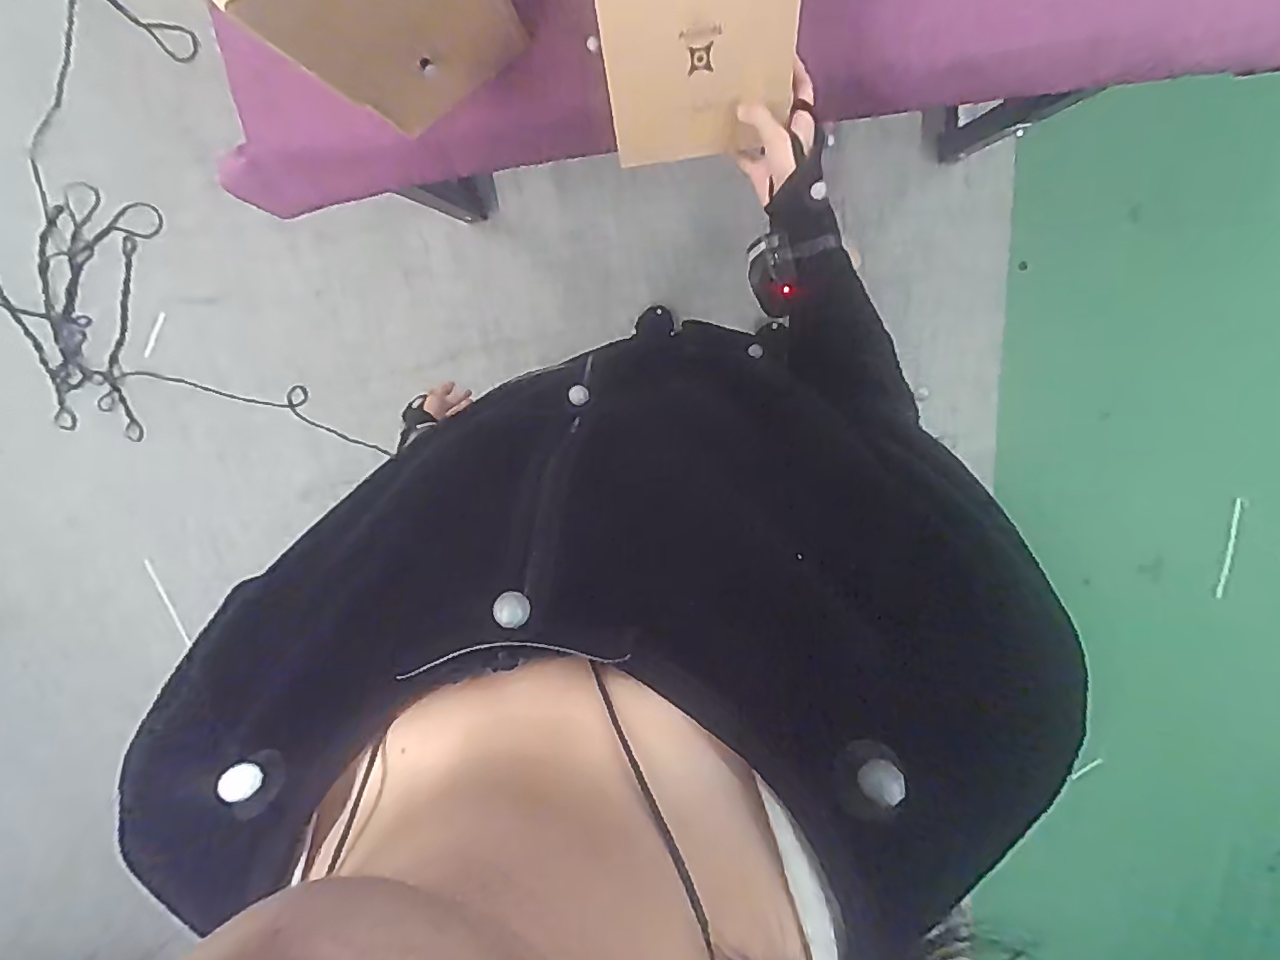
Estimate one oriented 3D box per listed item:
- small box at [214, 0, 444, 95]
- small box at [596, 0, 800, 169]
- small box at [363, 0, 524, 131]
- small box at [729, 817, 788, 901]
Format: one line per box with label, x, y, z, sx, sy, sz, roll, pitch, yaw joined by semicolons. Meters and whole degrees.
small box;-0.244;-0.423;0.374;0.179;0.176;0.168;-42;101;12
small box;0.045;-0.430;0.501;0.168;0.176;0.179;-5;150;4
small box;-0.240;-0.486;0.527;0.179;0.176;0.168;-30;104;10
small box;0.389;1.255;1.799;0.168;0.176;0.179;-2;108;3
